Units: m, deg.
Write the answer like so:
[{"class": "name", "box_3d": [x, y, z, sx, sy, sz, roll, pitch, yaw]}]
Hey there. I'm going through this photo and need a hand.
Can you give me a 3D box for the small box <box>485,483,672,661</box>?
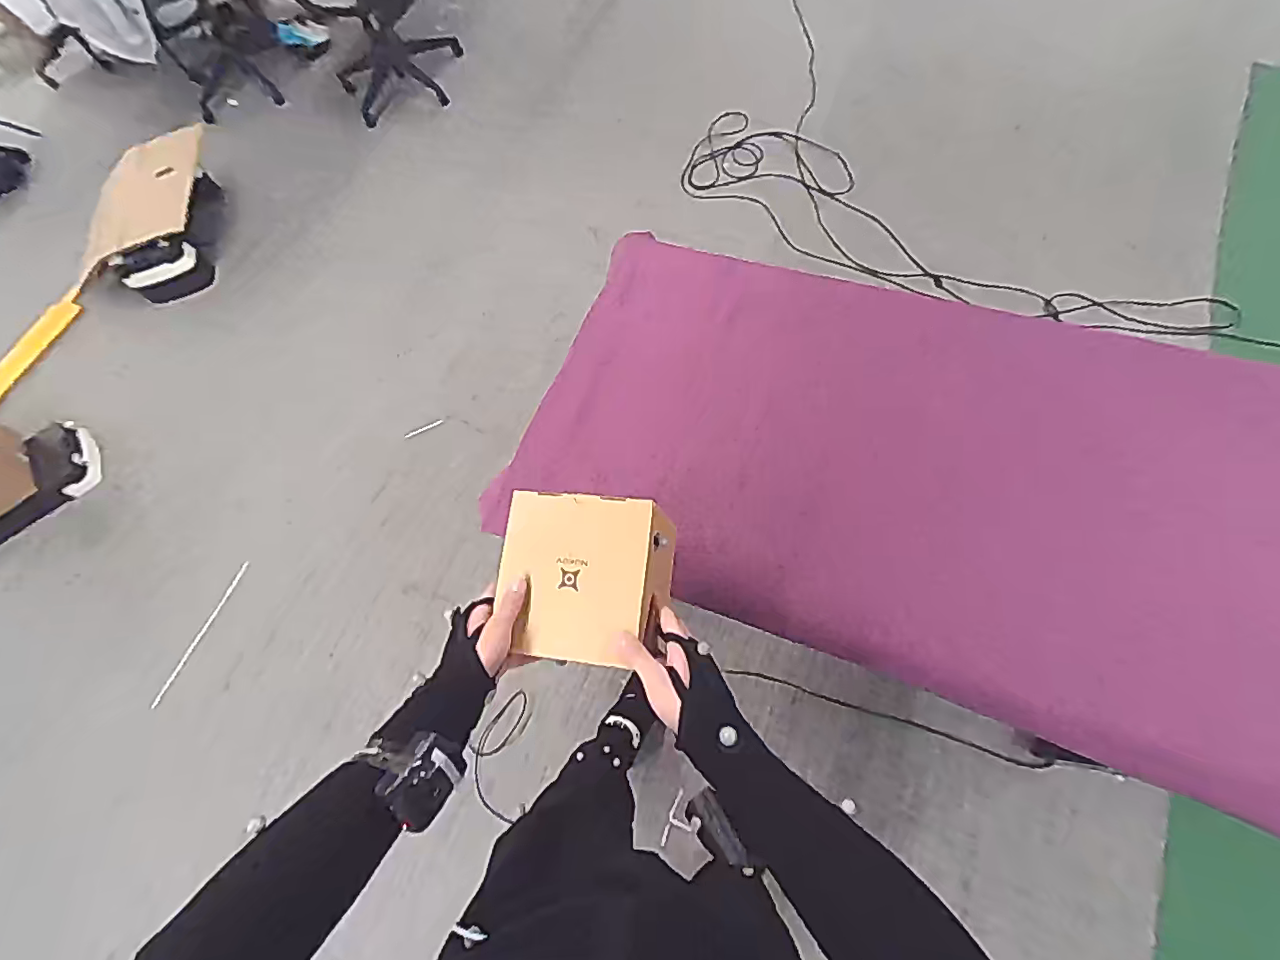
[{"class": "small box", "box_3d": [-0.060, 0.110, 0.650, 0.168, 0.176, 0.179, 3, 77, 14]}]
